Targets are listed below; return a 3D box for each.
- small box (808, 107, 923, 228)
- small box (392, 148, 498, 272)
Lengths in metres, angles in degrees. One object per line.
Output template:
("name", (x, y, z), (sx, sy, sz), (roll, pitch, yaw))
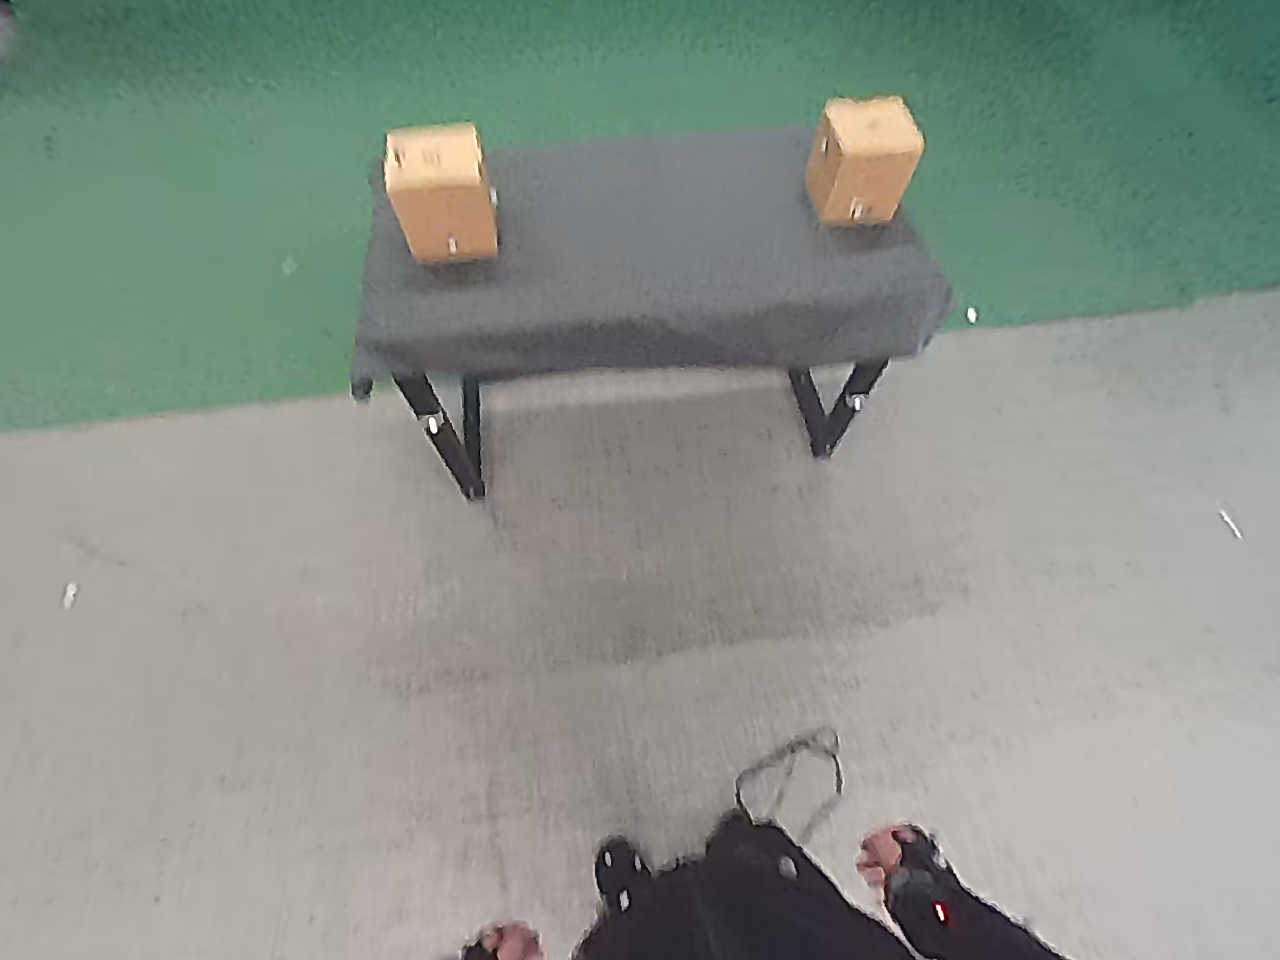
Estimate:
("small box", (0.482, -0.683, 1.188), (0.168, 0.176, 0.179), (-3, 62, 0))
("small box", (-0.395, -0.558, 1.128), (0.179, 0.176, 0.168), (-7, 61, -6))
